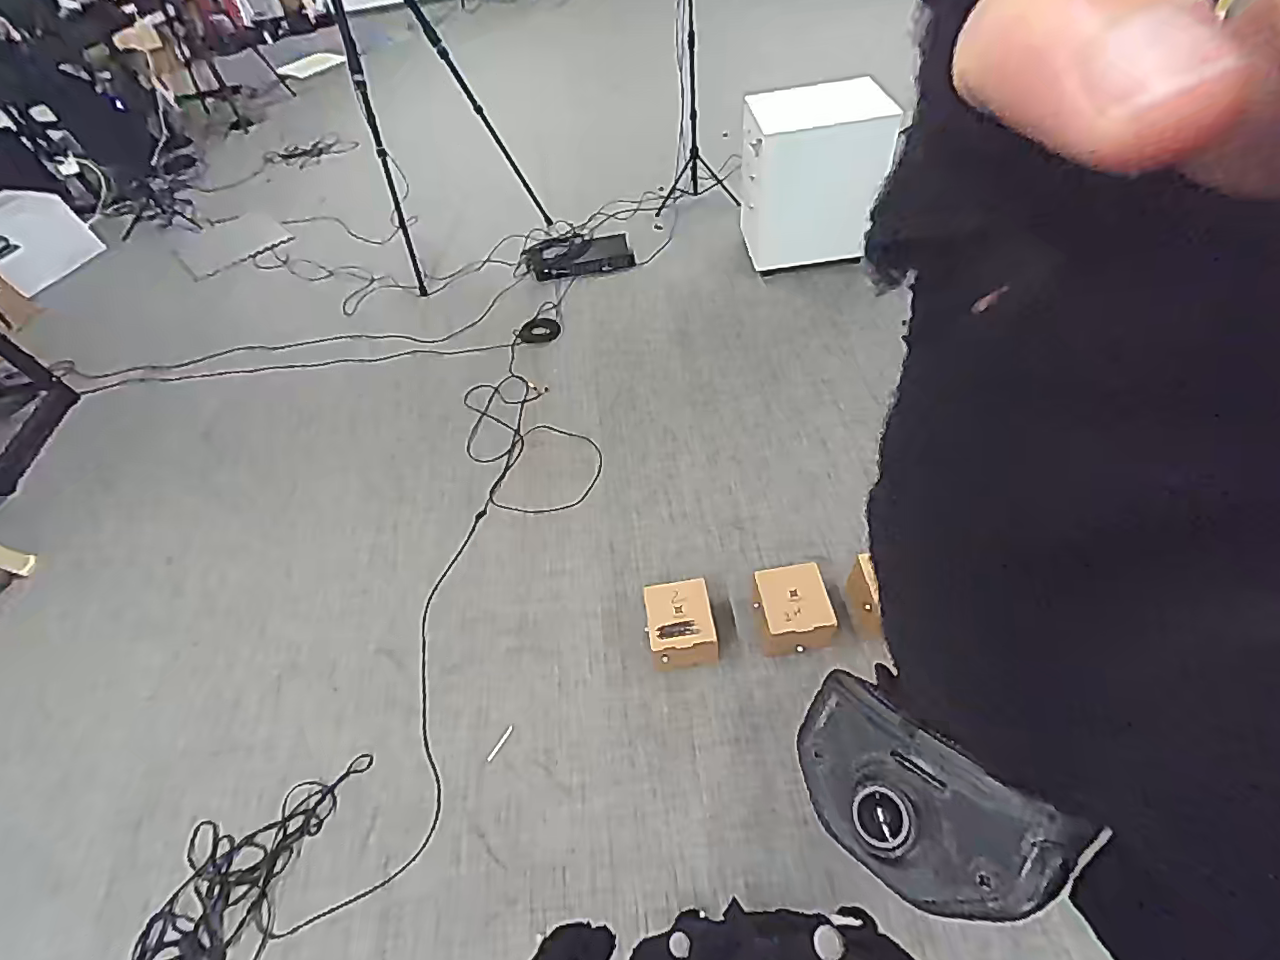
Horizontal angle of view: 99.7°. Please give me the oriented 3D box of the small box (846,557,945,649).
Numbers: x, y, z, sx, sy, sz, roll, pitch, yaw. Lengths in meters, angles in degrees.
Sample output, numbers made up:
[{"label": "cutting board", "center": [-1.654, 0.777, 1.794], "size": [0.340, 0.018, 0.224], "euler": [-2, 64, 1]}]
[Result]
[{"label": "small box", "center": [0.658, 0.324, 1.419], "size": [0.168, 0.176, 0.179], "euler": [-7, 52, 2]}]

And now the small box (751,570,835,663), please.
[{"label": "small box", "center": [0.392, 0.361, 1.422], "size": [0.168, 0.176, 0.179], "euler": [-9, 52, 2]}]
